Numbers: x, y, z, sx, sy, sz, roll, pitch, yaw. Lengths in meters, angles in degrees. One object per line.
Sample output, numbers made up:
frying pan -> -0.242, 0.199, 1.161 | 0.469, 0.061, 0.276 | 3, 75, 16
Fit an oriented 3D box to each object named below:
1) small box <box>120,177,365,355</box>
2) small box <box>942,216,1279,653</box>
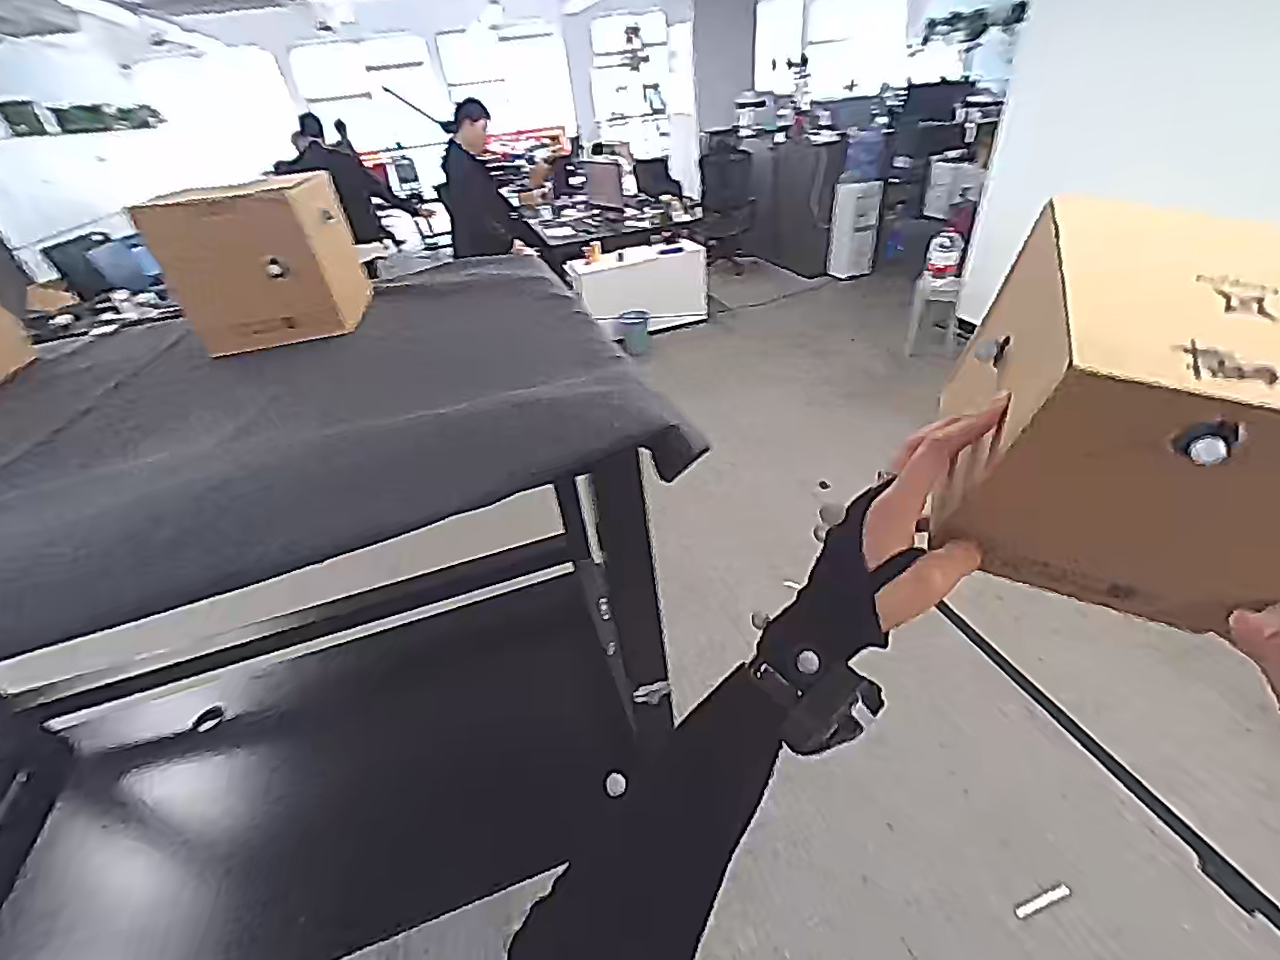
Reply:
small box -> -0.469, -0.267, 0.678 | 0.168, 0.176, 0.179 | -12, 36, -8
small box -> 0.307, -0.027, 0.330 | 0.168, 0.176, 0.179 | 17, 54, 15
